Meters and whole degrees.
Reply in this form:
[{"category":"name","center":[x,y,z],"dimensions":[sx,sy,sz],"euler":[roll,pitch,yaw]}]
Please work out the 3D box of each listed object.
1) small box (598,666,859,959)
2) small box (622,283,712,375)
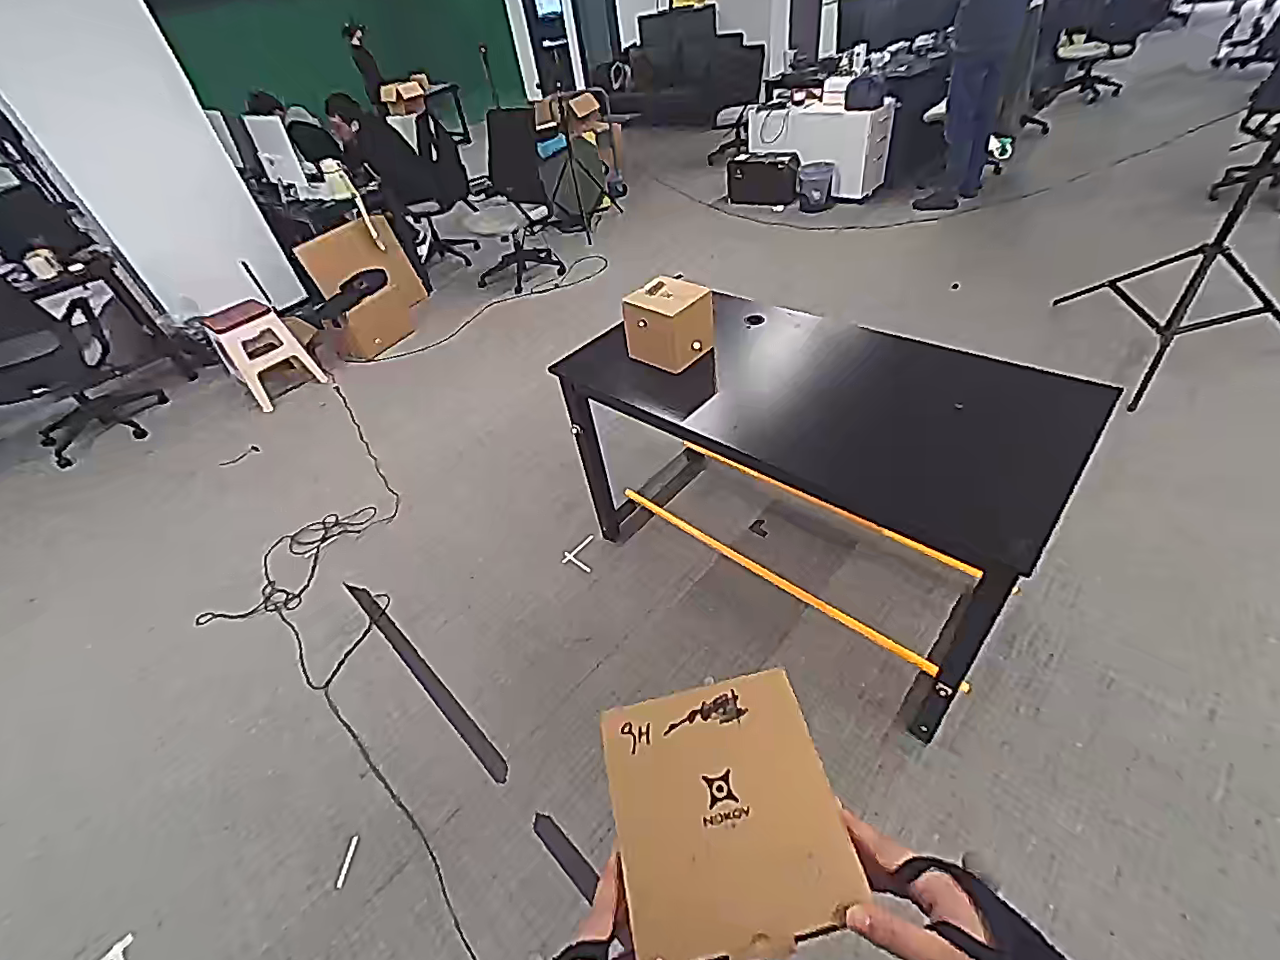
[{"category":"small box","center":[0.067,0.295,0.481],"dimensions":[0.168,0.176,0.179],"euler":[-13,51,-3]},{"category":"small box","center":[0.077,-0.405,1.456],"dimensions":[0.179,0.176,0.168],"euler":[28,55,33]}]
